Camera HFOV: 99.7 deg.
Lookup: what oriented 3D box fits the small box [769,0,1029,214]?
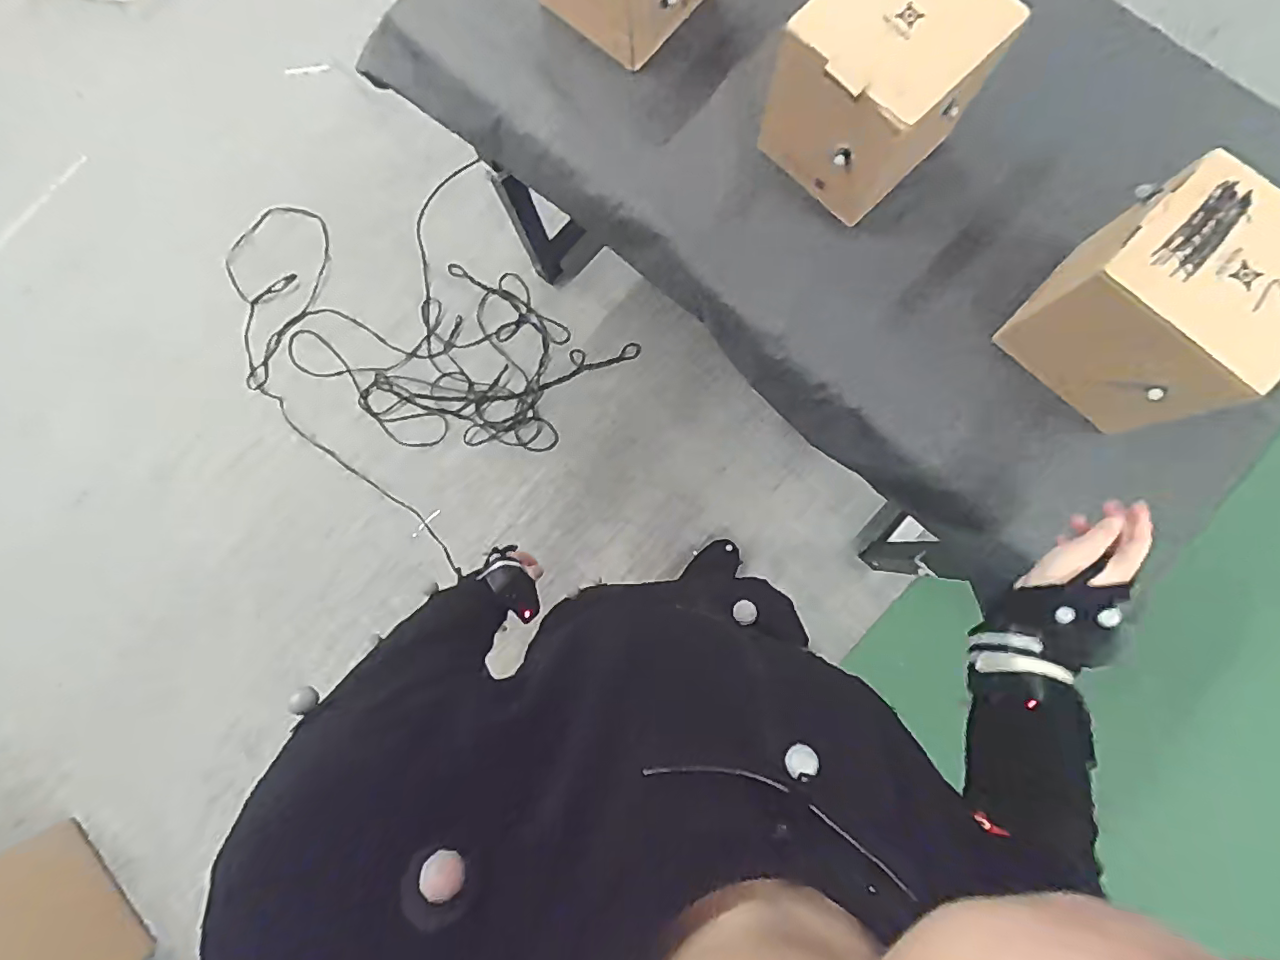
[{"bbox_3d":[0.264,-0.446,0.606,0.179,0.176,0.168,-44,84,-3],"label":"small box"}]

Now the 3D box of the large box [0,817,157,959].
[{"bbox_3d":[-1.427,1.079,1.199,0.320,0.320,0.408,-43,82,-2],"label":"large box"}]

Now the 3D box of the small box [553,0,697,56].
[{"bbox_3d":[-0.024,-0.671,0.647,0.179,0.176,0.168,41,87,6],"label":"small box"}]
